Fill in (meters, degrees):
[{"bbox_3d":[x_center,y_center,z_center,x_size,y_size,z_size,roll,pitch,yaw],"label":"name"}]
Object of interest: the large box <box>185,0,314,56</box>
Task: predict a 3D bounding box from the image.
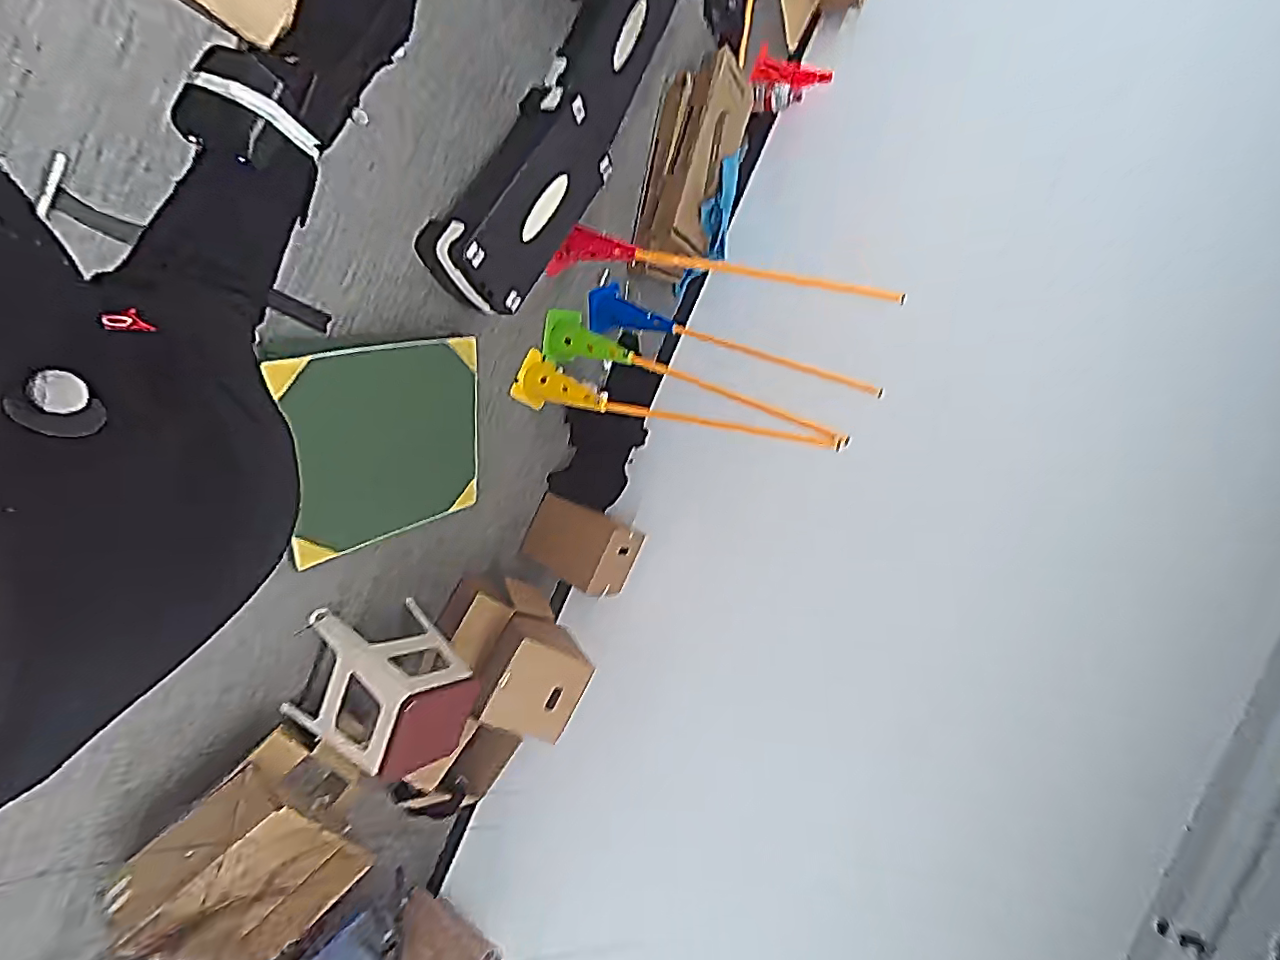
[{"bbox_3d":[-0.383,-0.558,0.283,0.320,0.320,0.408,-53,154,10],"label":"large box"}]
